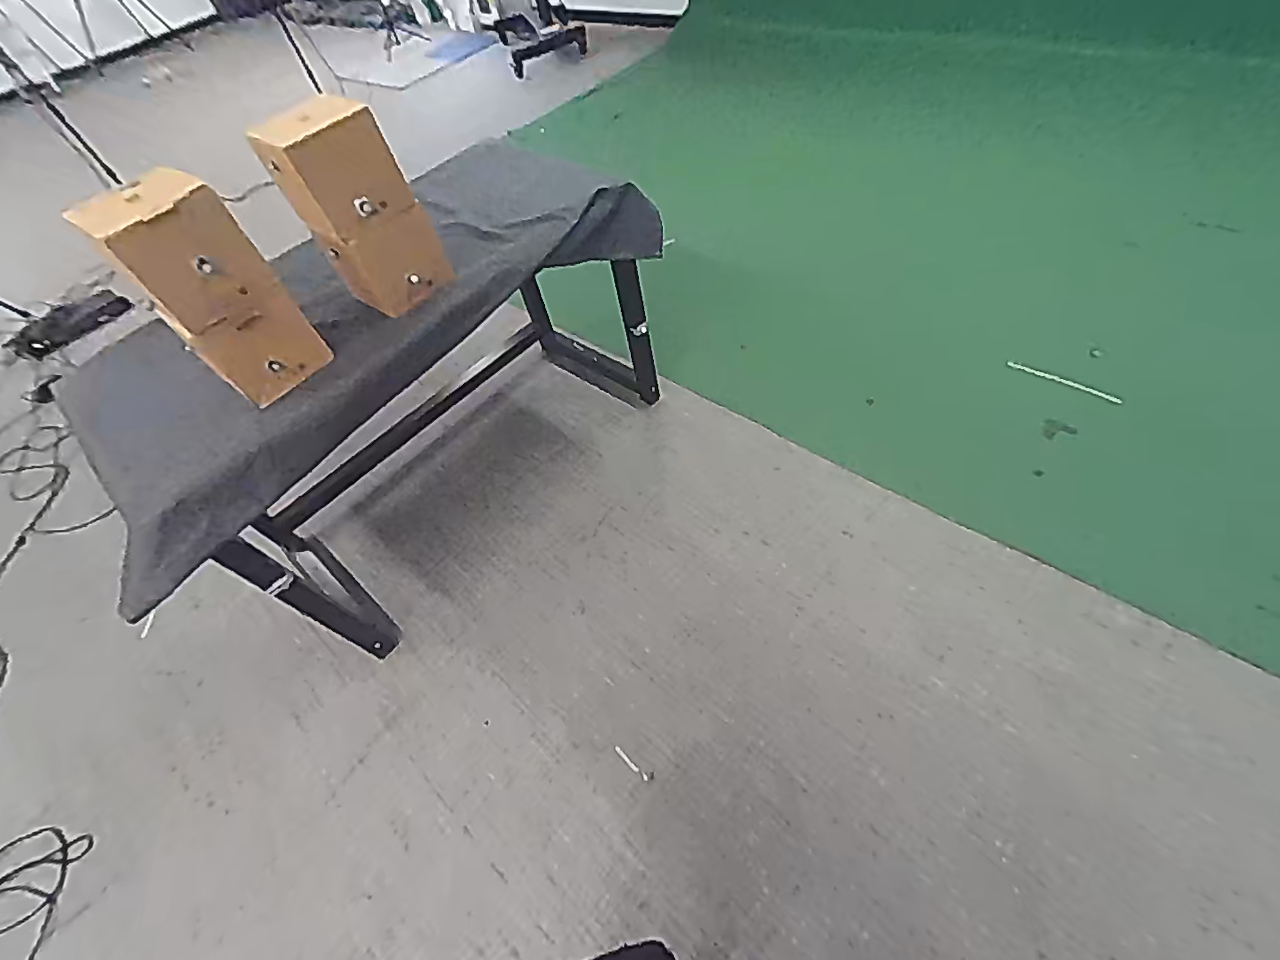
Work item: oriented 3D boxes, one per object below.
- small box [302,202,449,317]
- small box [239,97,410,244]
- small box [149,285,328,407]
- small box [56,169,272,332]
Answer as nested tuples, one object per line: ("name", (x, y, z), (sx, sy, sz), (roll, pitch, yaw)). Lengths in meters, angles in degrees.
("small box", (-0.531, -0.461, 1.103), (0.179, 0.176, 0.168), (30, 65, 28))
("small box", (-0.558, -0.554, 0.973), (0.179, 0.176, 0.168), (32, 66, 29))
("small box", (-0.728, -0.263, 0.996), (0.179, 0.176, 0.168), (29, 63, 27))
("small box", (-0.746, -0.362, 0.867), (0.179, 0.176, 0.168), (28, 63, 26))
